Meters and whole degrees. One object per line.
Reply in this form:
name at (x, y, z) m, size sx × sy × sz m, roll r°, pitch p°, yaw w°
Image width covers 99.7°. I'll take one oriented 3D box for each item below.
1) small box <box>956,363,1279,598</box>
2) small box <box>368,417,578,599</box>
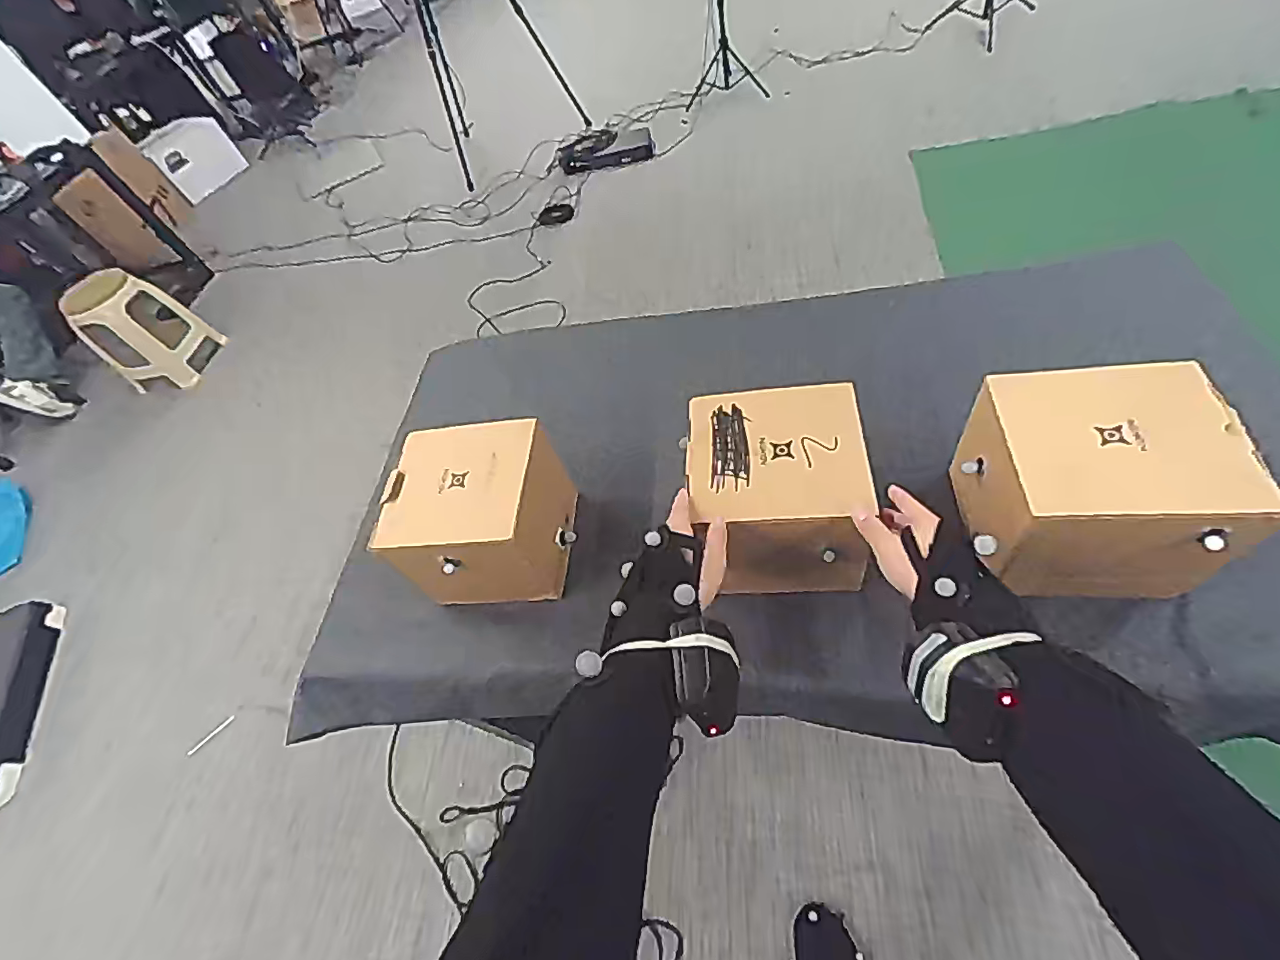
small box at (0.432, 0.009, 0.533) m, size 0.179 × 0.176 × 0.168 m, roll -2°, pitch 55°, yaw 14°
small box at (-0.193, 0.044, 0.681) m, size 0.179 × 0.176 × 0.168 m, roll -4°, pitch 56°, yaw 11°
